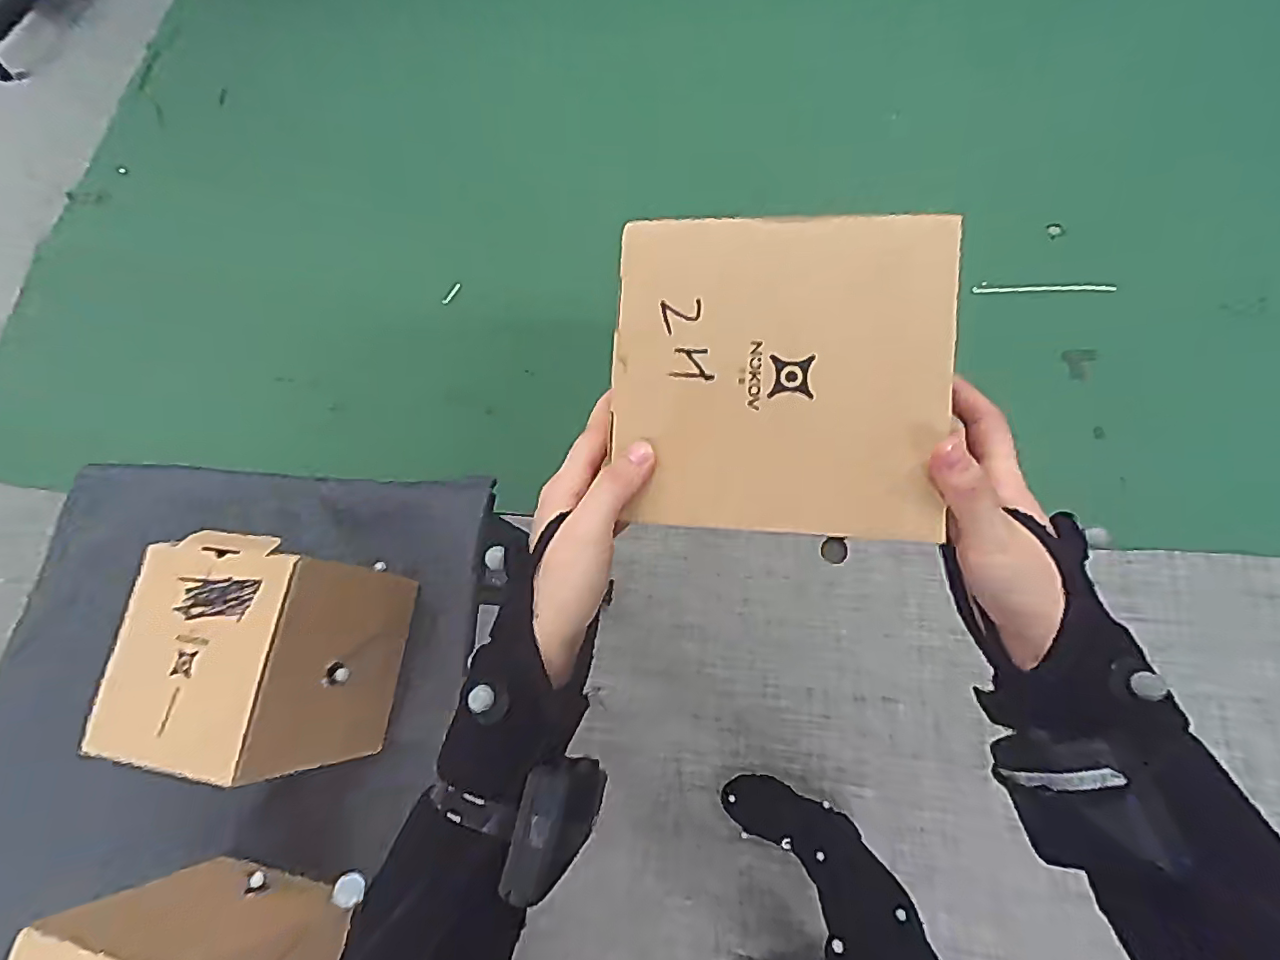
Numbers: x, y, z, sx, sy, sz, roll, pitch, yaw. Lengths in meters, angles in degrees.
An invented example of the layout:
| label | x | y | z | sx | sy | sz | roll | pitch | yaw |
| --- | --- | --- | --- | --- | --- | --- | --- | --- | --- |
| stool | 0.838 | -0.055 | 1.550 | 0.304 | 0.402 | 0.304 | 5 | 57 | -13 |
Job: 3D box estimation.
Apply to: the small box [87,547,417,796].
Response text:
| label | x | y | z | sx | sy | sz | roll | pitch | yaw |
| --- | --- | --- | --- | --- | --- | --- | --- | --- | --- |
| small box | -0.344 | 0.171 | 0.517 | 0.168 | 0.176 | 0.179 | 3 | 74 | 16 |

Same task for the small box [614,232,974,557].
| label | x | y | z | sx | sy | sz | roll | pitch | yaw |
| --- | --- | --- | --- | --- | --- | --- | --- | --- | --- |
| small box | 0.090 | -0.046 | 0.362 | 0.179 | 0.176 | 0.168 | 4 | 88 | 10 |
